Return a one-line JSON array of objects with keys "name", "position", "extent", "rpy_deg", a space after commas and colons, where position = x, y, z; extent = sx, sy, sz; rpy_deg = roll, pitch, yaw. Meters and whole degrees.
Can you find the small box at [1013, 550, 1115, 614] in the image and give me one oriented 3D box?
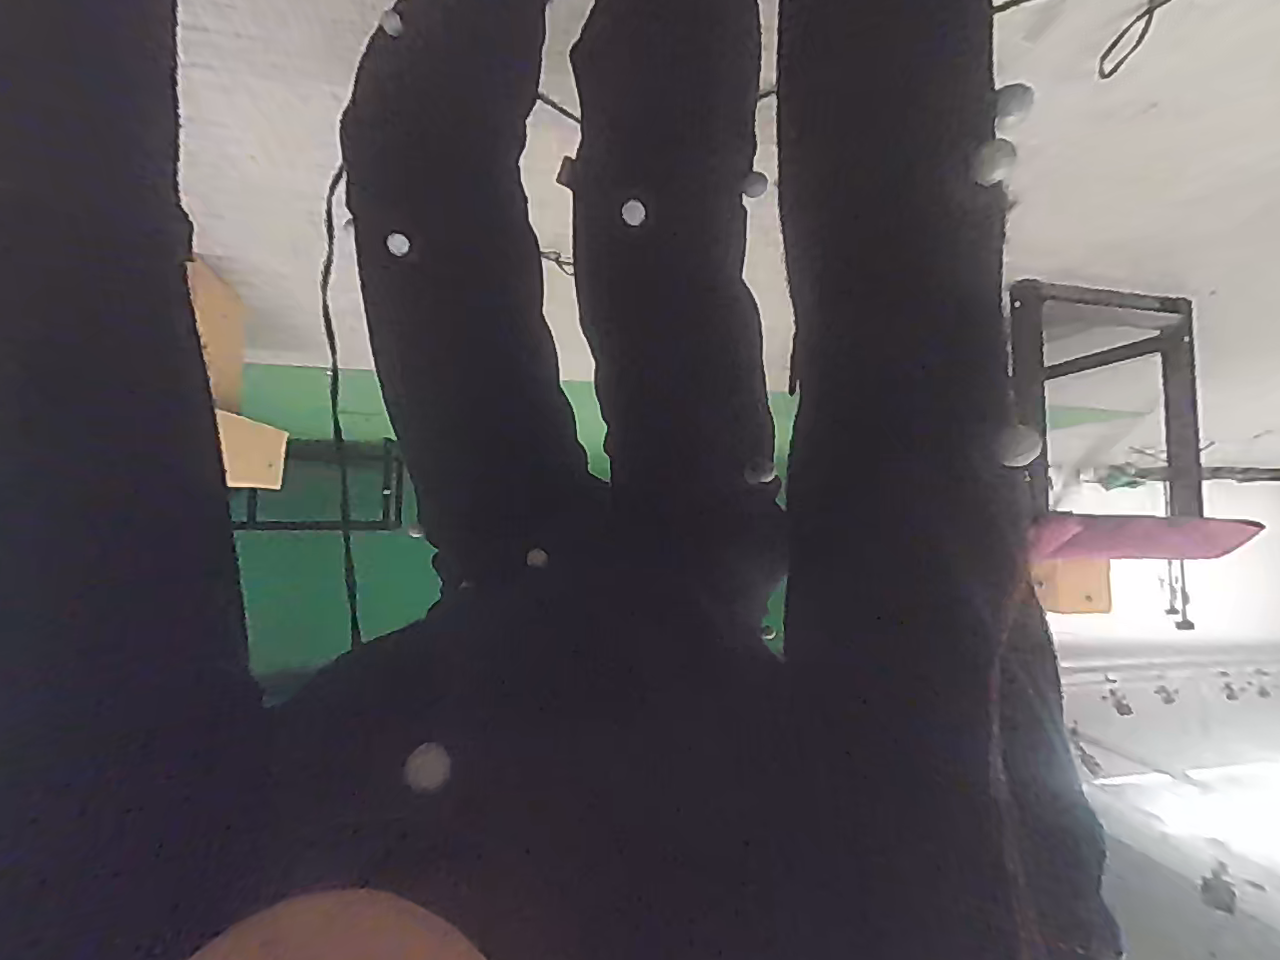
[{"name": "small box", "position": [1.223, 0.290, 1.571], "extent": [0.179, 0.176, 0.168], "rpy_deg": [1, 176, -9]}]
